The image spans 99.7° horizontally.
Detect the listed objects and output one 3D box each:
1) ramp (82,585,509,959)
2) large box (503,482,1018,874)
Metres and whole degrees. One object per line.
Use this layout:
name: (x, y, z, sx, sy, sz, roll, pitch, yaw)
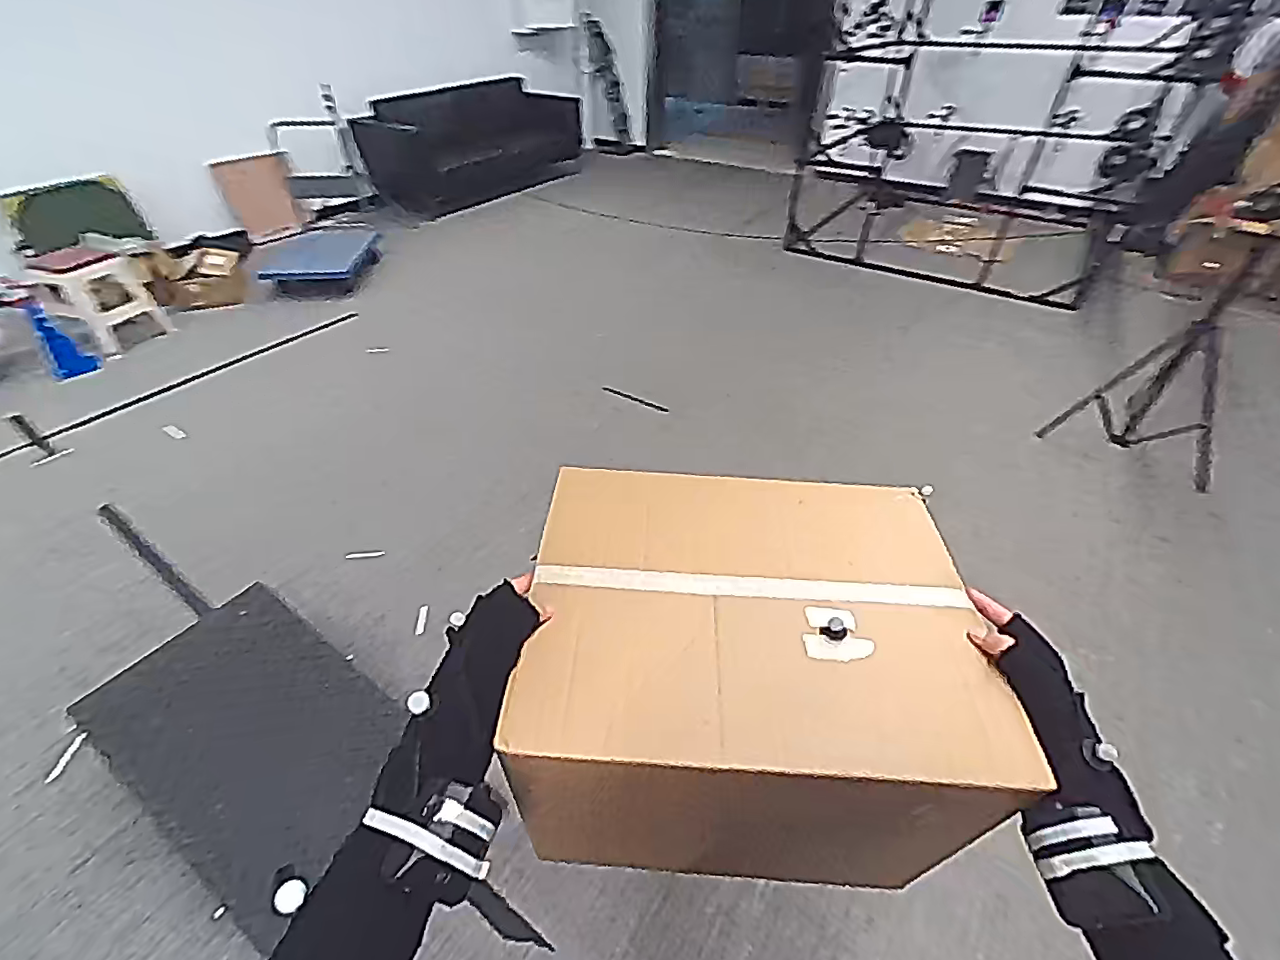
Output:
ramp: (-0.857, 0.699, 1.359, 0.991, 0.206, 0.509, 23, 45, 23)
large box: (0.090, 0.222, 0.618, 0.408, 0.320, 0.320, 3, 43, 0)
